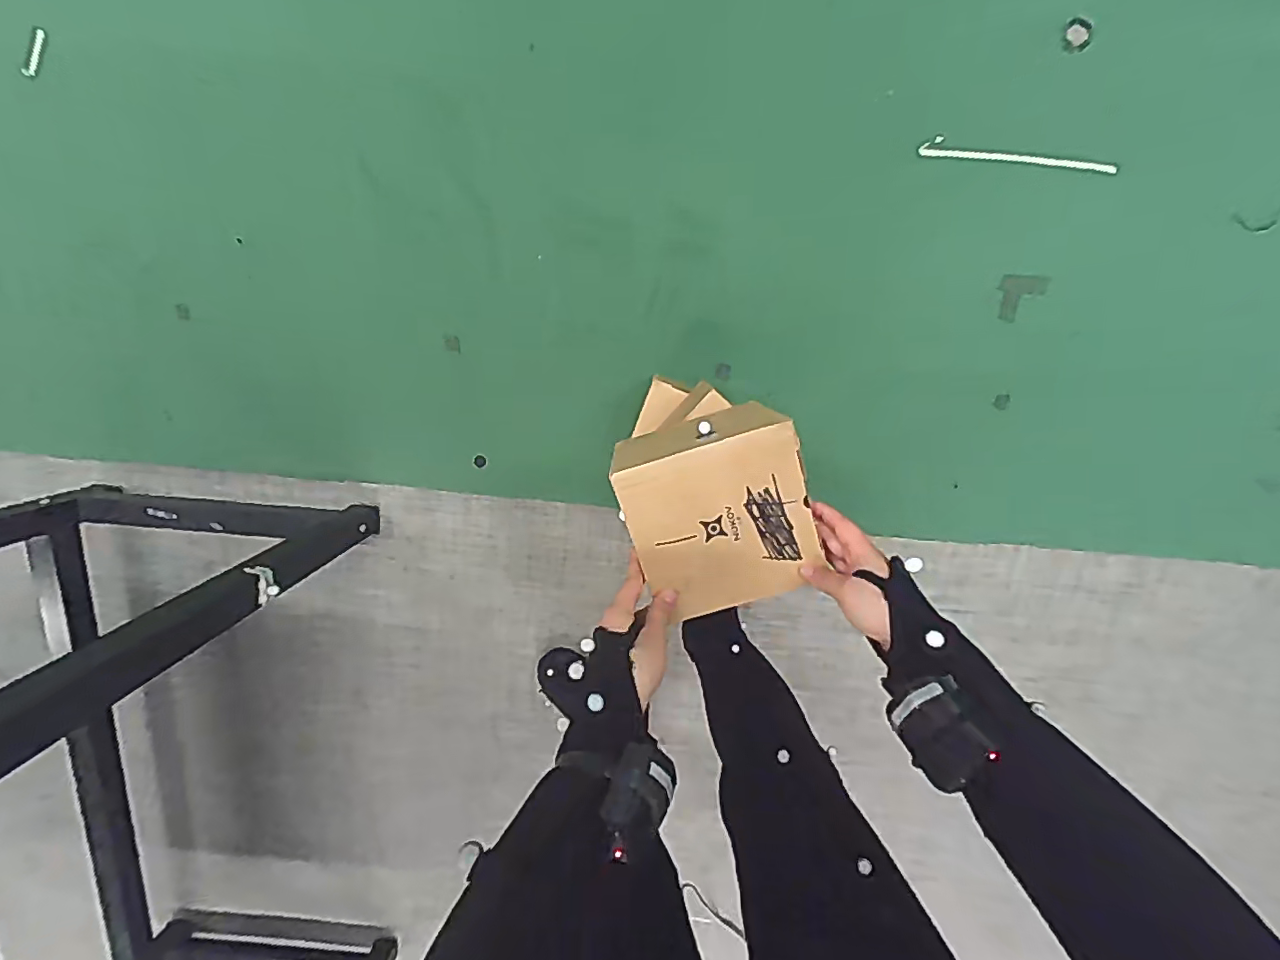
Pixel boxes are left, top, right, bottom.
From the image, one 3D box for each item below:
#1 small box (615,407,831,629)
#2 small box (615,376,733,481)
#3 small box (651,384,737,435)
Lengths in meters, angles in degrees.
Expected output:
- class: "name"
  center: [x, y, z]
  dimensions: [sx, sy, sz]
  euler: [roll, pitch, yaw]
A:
- class: "small box"
  center: [0.080, 0.028, 0.584]
  dimensions: [0.179, 0.176, 0.168]
  euler: [-17, 104, 5]
- class: "small box"
  center: [0.070, -0.064, 0.917]
  dimensions: [0.168, 0.176, 0.179]
  euler: [21, 104, -3]
- class: "small box"
  center: [0.094, -0.015, 0.760]
  dimensions: [0.168, 0.176, 0.179]
  euler: [41, 101, -9]
